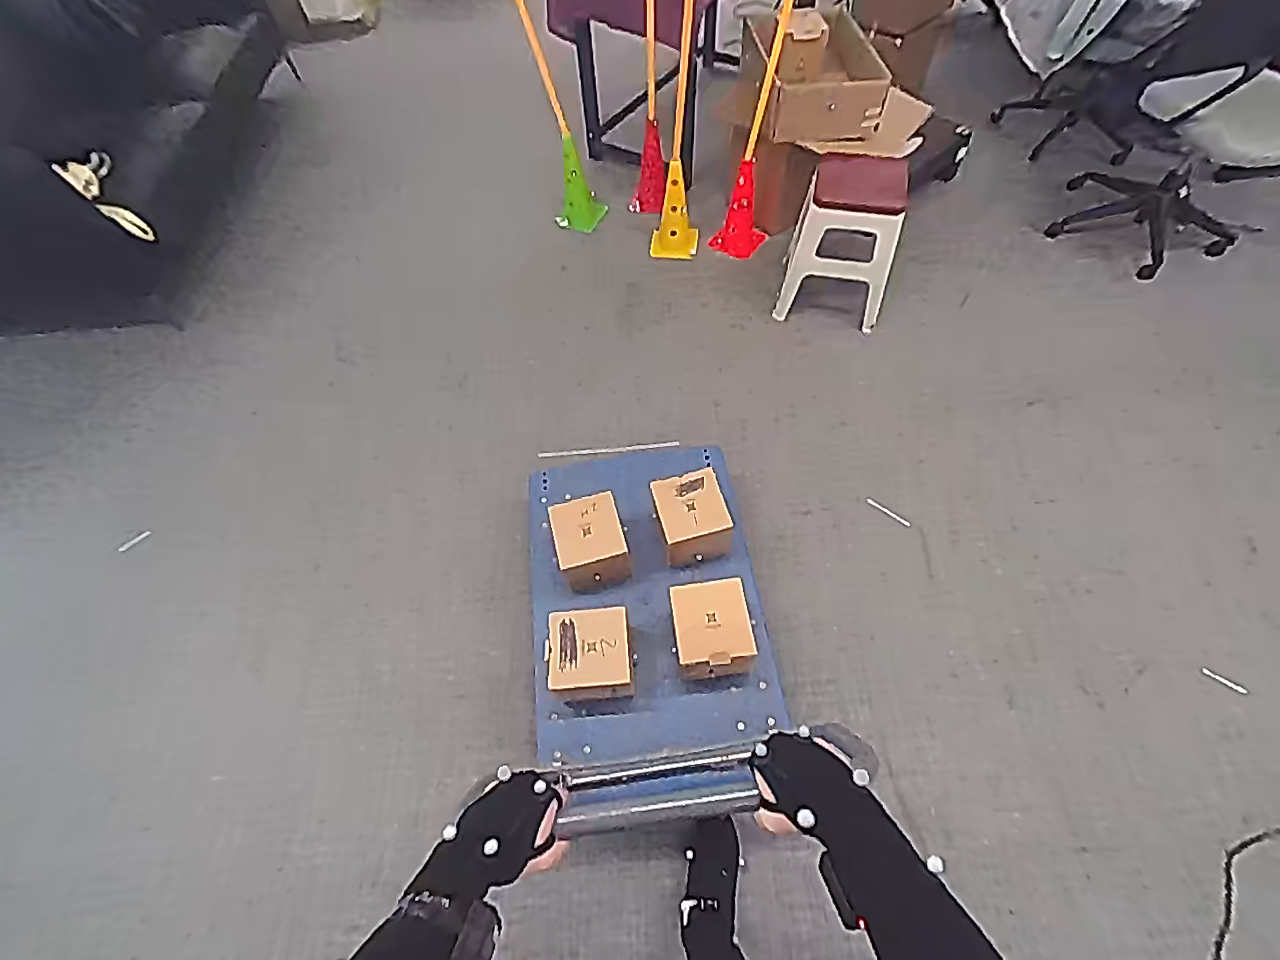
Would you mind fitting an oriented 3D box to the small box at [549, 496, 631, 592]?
[{"bbox_3d":[-0.123,0.171,1.378,0.168,0.176,0.179,-14,59,-5],"label":"small box"}]

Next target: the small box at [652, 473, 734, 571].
[{"bbox_3d":[0.130,0.111,1.396,0.168,0.176,0.179,-14,60,-4],"label":"small box"}]

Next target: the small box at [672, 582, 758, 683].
[{"bbox_3d":[0.164,0.356,1.250,0.168,0.176,0.179,-8,60,-1],"label":"small box"}]
